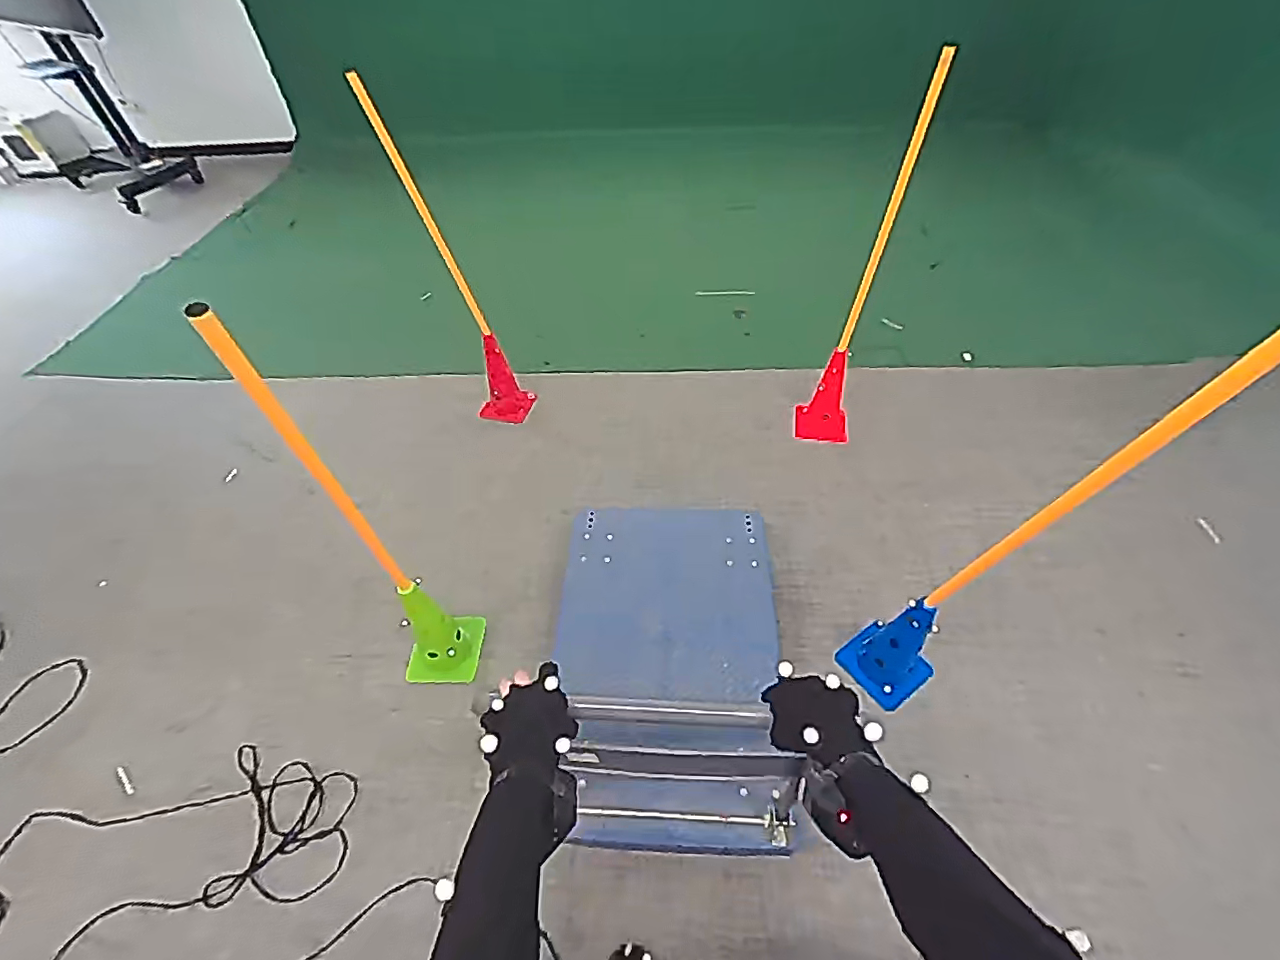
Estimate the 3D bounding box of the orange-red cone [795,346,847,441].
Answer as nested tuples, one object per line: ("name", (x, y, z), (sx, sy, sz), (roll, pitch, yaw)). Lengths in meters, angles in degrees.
("orange-red cone", (0.715, -0.342, 2.028), (0.198, 0.360, 0.199), (8, 50, 11))
